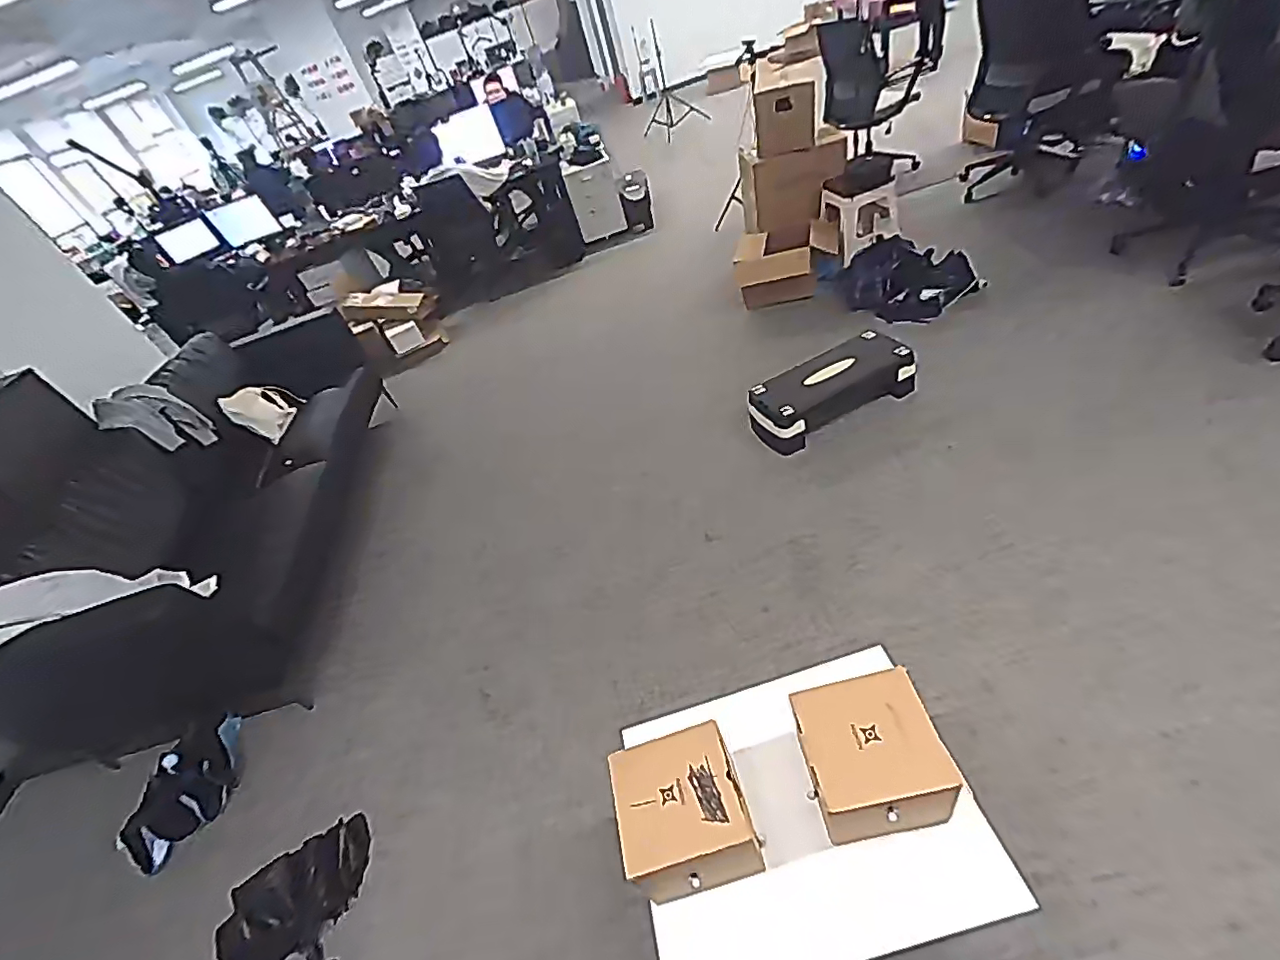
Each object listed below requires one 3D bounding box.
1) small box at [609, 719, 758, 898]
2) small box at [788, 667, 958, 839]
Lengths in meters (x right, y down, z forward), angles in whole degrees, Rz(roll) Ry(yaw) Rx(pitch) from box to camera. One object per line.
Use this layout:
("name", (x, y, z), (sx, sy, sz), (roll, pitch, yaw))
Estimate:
("small box", (0.070, 0.497, 0.816), (0.179, 0.176, 0.168), (-20, 40, 2))
("small box", (0.336, 0.408, 0.802), (0.179, 0.176, 0.168), (-16, 43, 6))
